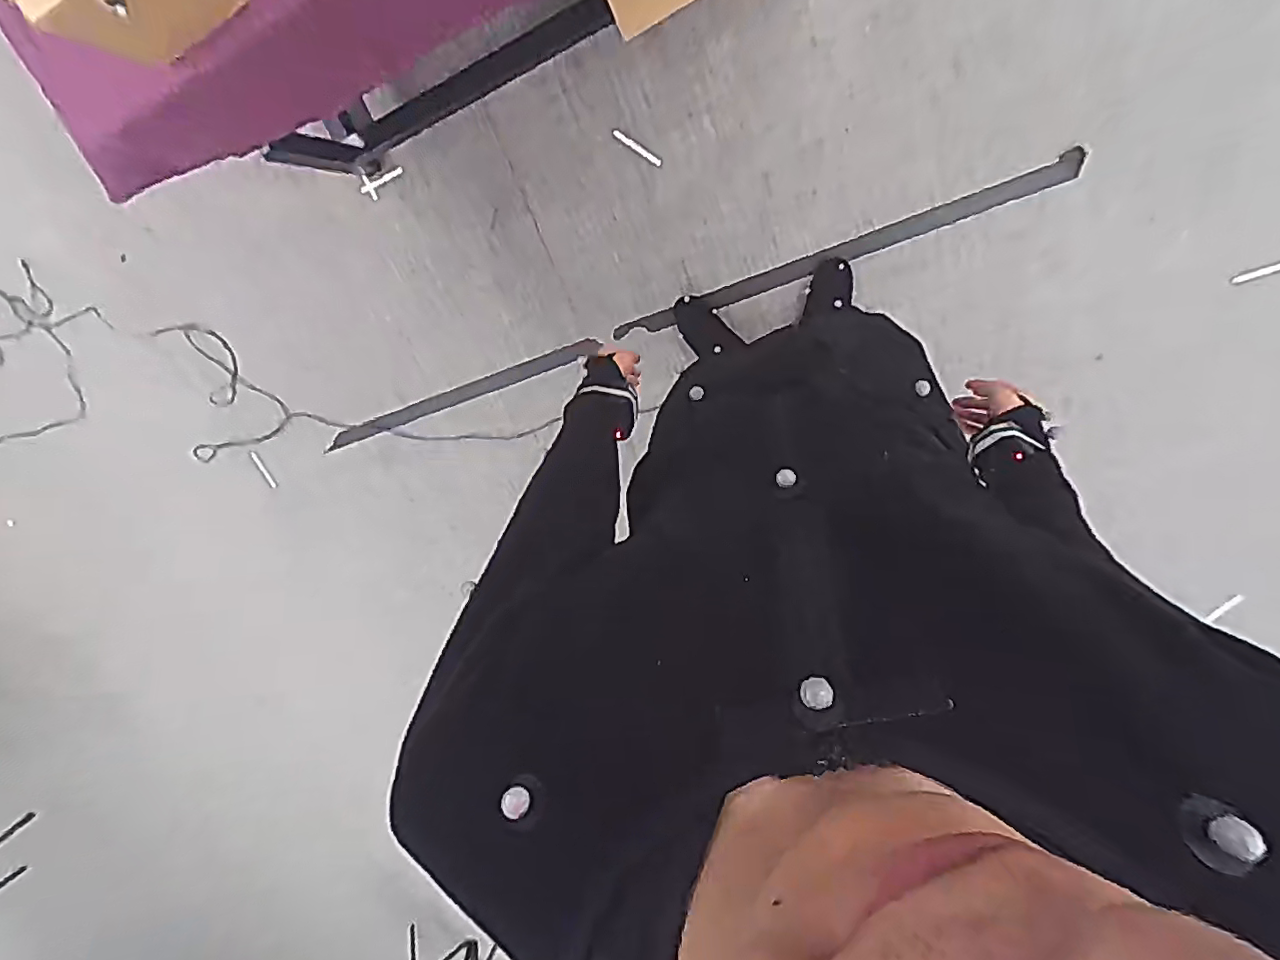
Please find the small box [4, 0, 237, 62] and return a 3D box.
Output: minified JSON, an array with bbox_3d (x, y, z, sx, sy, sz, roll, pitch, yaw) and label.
[{"bbox_3d":[-0.628,-0.630,0.625,0.179,0.176,0.168,-19,111,15],"label":"small box"}]
